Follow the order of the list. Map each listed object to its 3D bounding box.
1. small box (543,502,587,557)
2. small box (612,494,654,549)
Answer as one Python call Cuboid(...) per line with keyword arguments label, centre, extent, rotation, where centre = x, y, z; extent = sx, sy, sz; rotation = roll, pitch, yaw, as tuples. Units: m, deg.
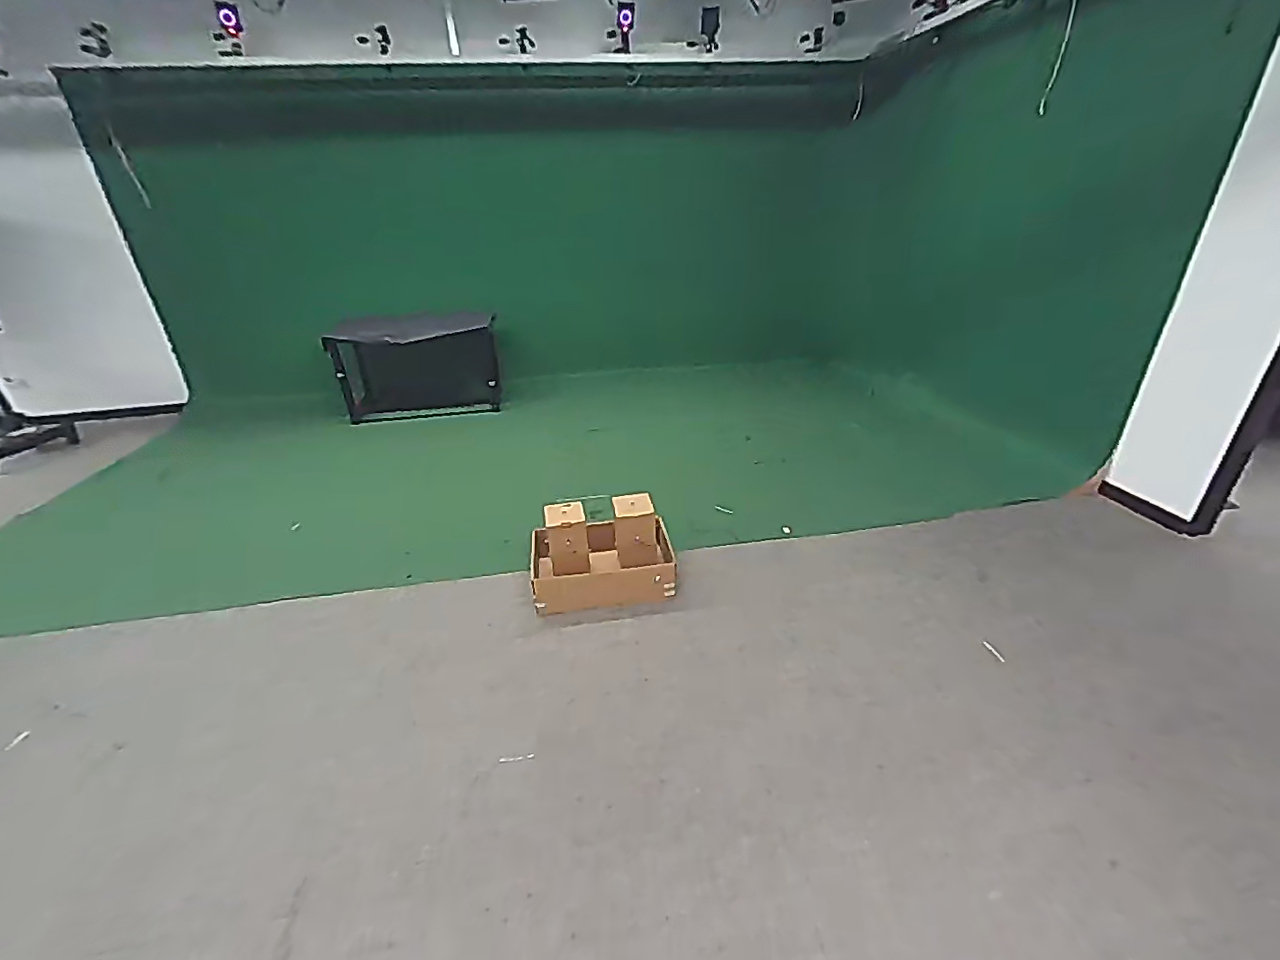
Cuboid(label="small box", centre=(-0.323, 0.218, 2.335), extent=(0.168, 0.176, 0.179), rotation=(-7, 29, -9))
Cuboid(label="small box", centre=(-0.032, 0.182, 2.380), extent=(0.168, 0.176, 0.179), rotation=(-7, 30, -7))
